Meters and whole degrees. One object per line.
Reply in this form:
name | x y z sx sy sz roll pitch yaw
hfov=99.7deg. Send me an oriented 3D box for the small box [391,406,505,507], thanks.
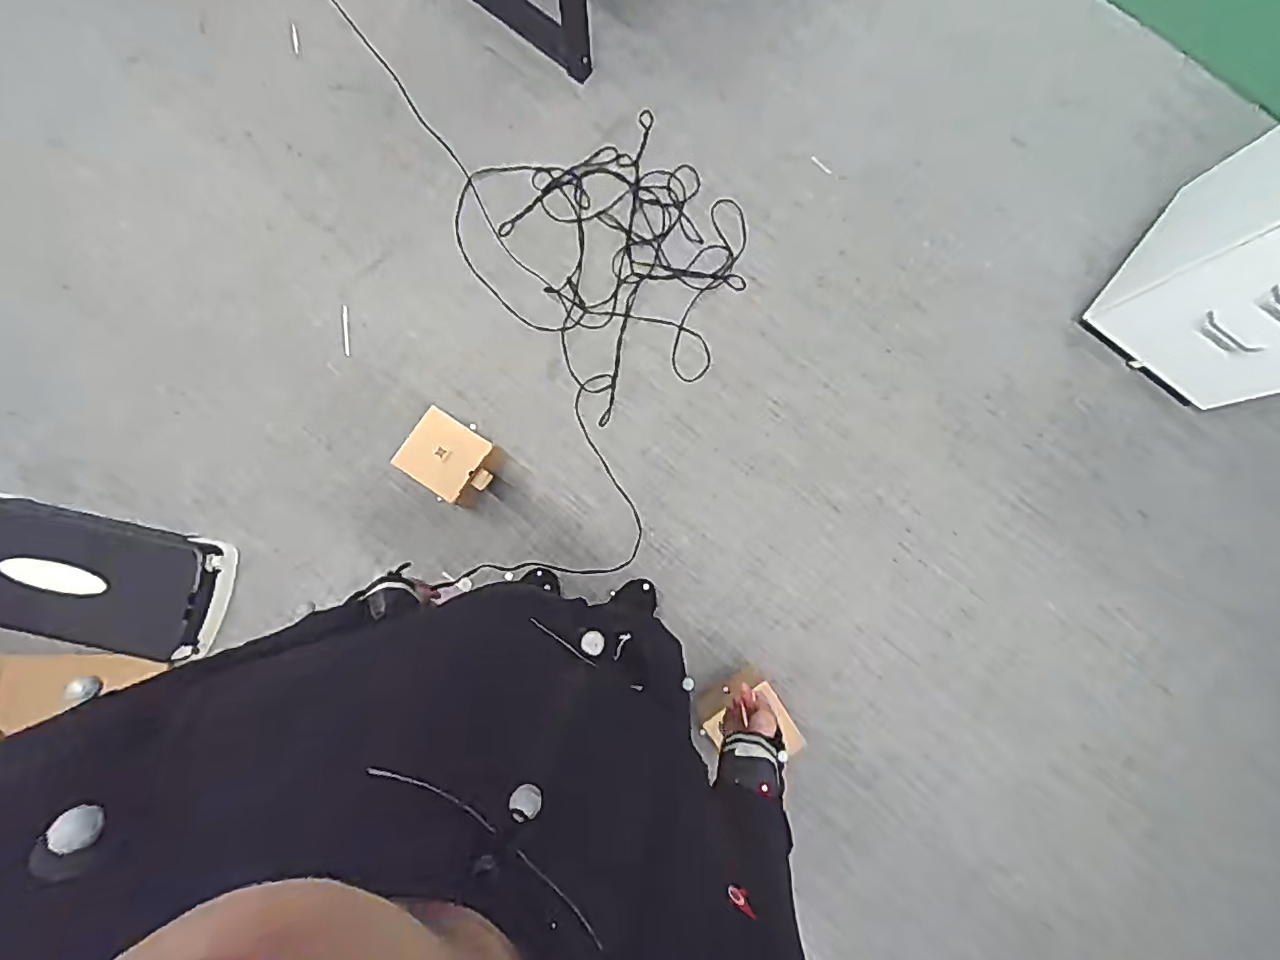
small box | -0.454 -0.047 1.310 0.179 0.176 0.168 33 82 1
